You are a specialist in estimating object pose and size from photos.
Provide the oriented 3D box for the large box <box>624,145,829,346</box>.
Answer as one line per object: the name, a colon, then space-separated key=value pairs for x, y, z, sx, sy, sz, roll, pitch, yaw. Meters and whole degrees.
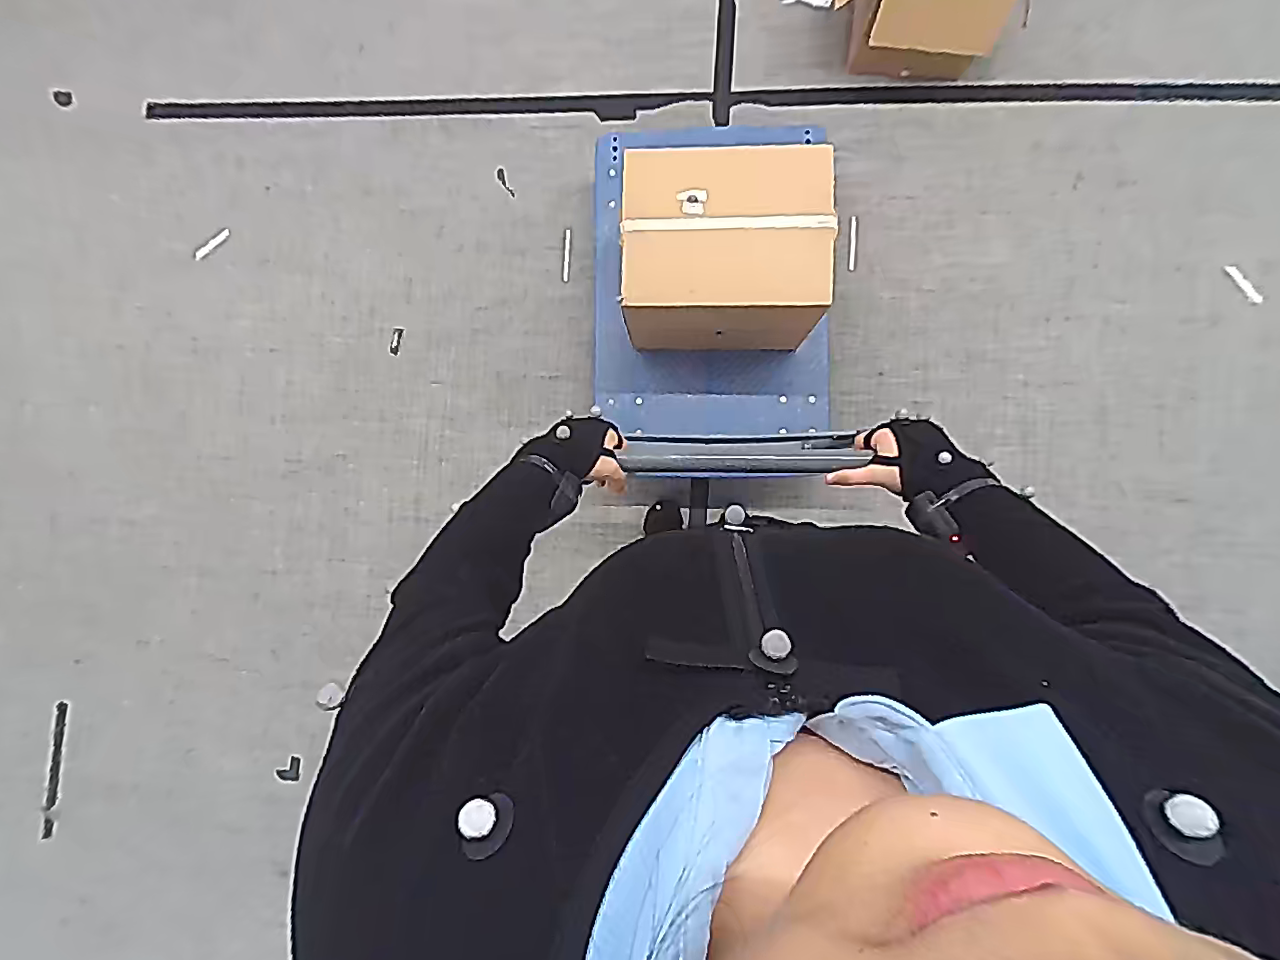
large box: x=0.181 y=-0.492 z=1.208 sx=0.408 sy=0.320 sz=0.320 roll=1 pitch=87 yaw=5
